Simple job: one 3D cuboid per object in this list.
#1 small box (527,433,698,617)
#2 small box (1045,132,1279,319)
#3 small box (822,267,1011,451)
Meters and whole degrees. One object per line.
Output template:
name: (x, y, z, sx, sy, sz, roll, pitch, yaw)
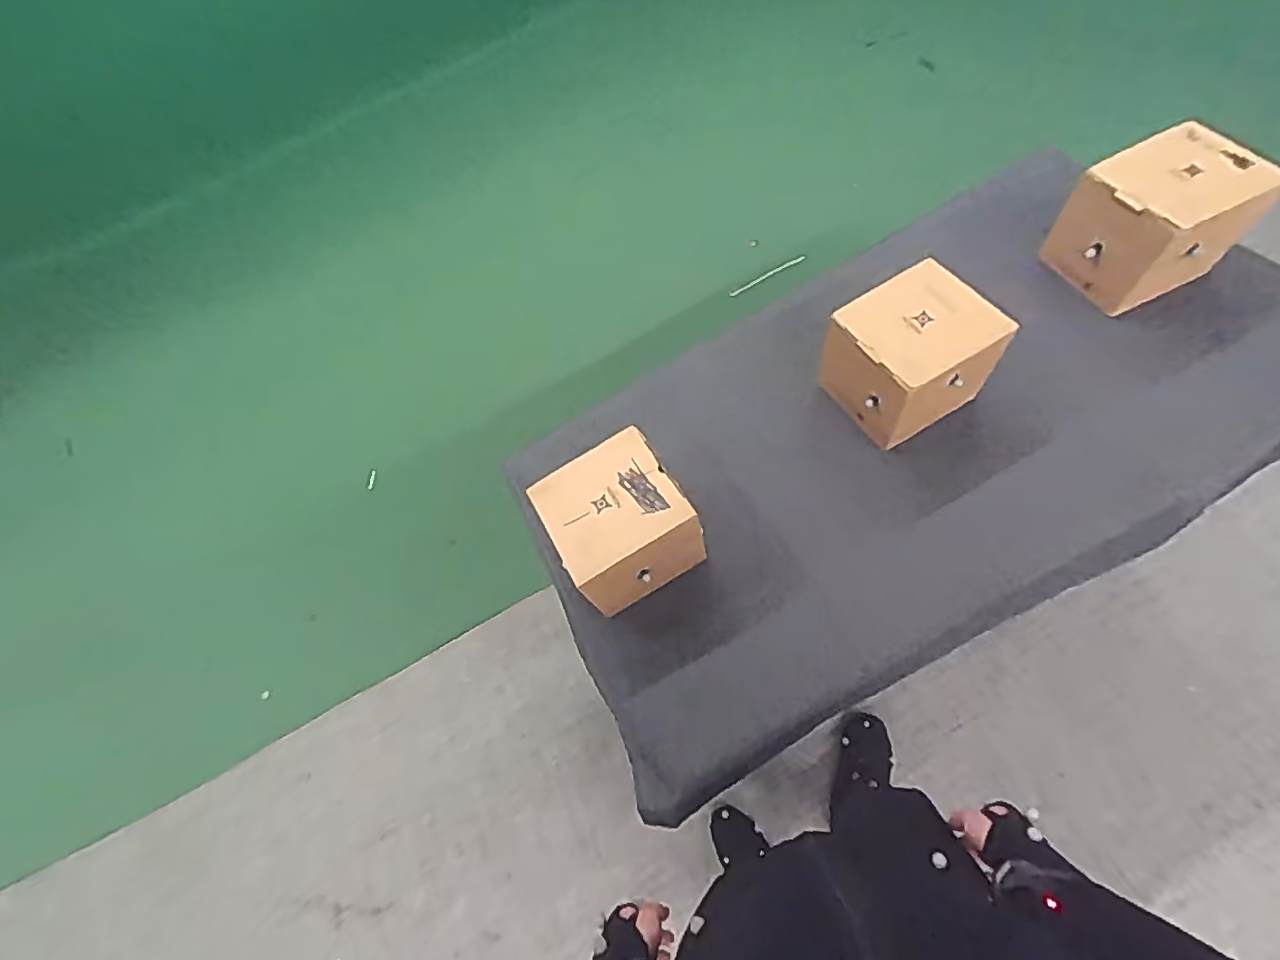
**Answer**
small box: (-0.029, 0.070, 0.773, 0.179, 0.176, 0.168, -31, 61, -4)
small box: (0.777, -0.383, 0.835, 0.179, 0.176, 0.168, -25, 62, -1)
small box: (0.394, -0.173, 0.812, 0.179, 0.176, 0.168, -30, 63, -5)
